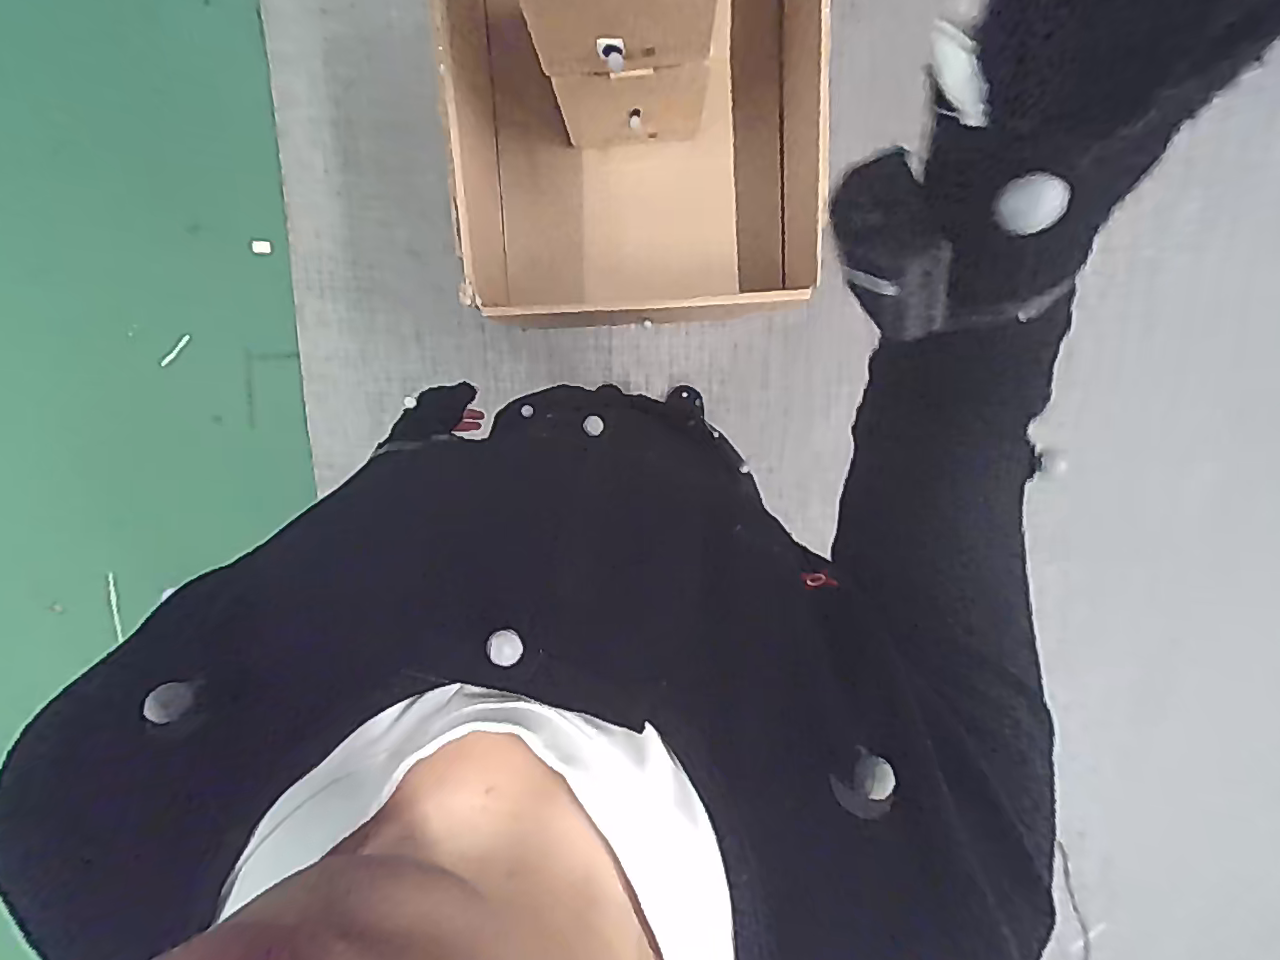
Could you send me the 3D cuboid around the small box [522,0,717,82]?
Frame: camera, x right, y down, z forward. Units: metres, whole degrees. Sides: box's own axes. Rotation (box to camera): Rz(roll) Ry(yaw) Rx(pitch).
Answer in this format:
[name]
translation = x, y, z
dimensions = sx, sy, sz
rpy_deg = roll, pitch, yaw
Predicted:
[small box]
translation = -0.023, -0.476, 0.446
dimensions = 0.168, 0.176, 0.179
rpy_deg = -5, 100, 3
